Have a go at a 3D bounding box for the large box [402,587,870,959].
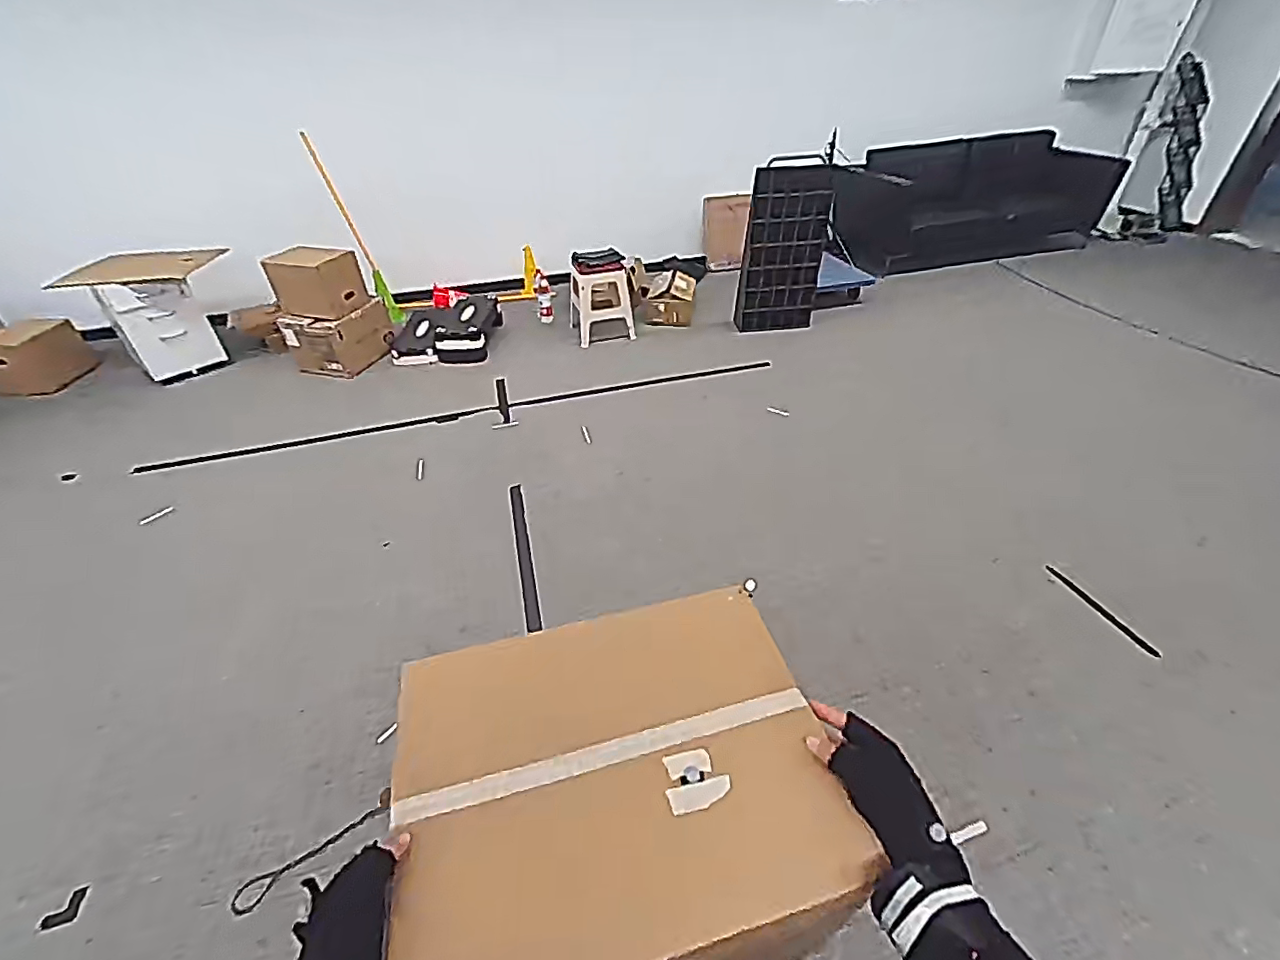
[{"bbox_3d":[-0.025,0.381,0.636,0.408,0.320,0.320,-11,42,-11],"label":"large box"}]
